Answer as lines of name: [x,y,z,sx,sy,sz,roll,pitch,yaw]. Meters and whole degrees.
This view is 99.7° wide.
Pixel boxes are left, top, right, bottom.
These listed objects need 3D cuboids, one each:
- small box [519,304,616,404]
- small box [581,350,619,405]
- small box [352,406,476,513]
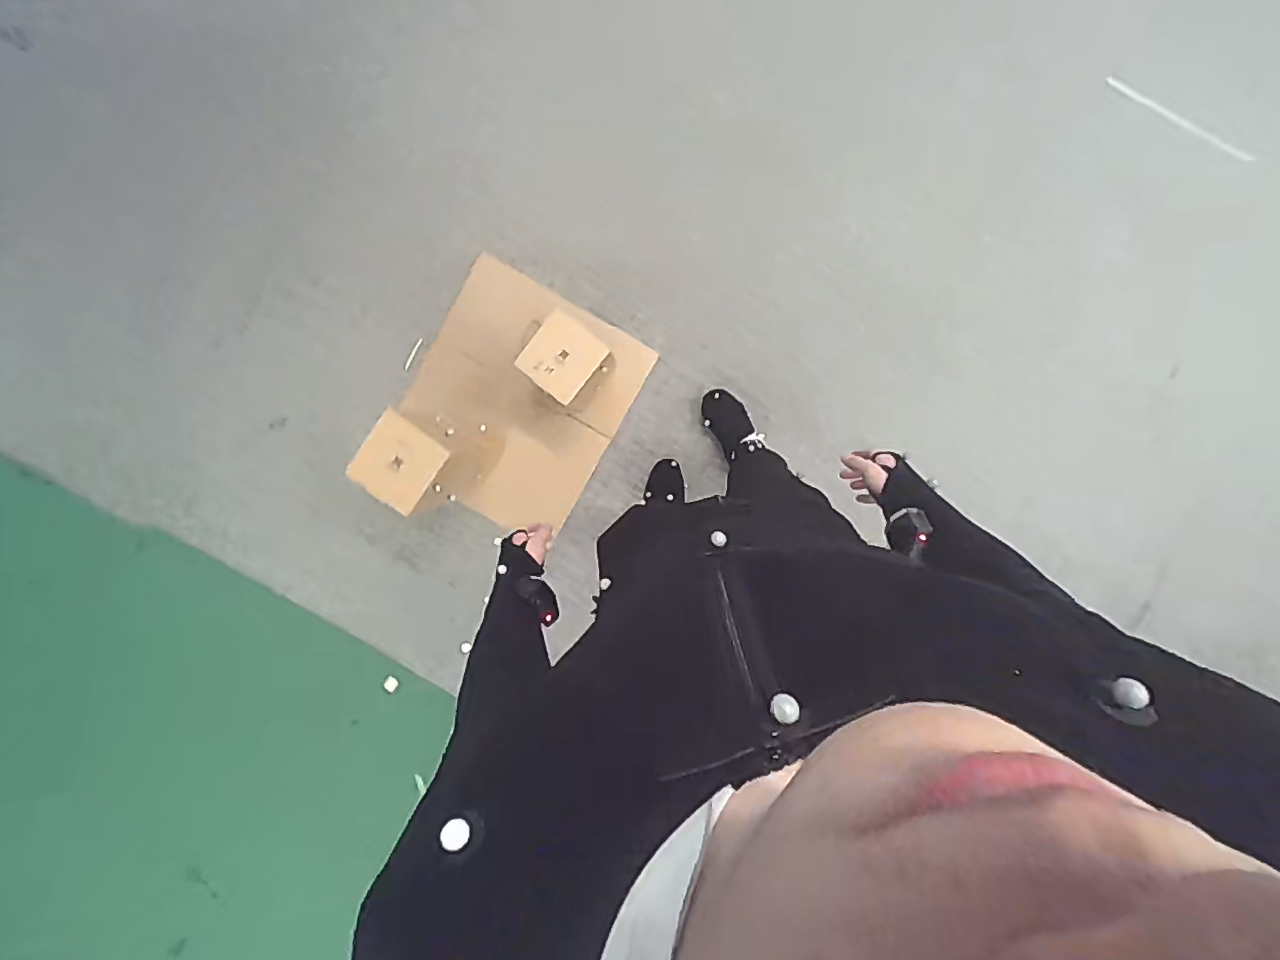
small box: [-0.173,-0.310,1.366,0.168,0.176,0.179,39,97,-1]
small box: [-0.172,-0.329,1.530,0.168,0.176,0.179,35,96,-1]
small box: [-0.504,-0.049,1.239,0.168,0.176,0.179,36,95,-2]
